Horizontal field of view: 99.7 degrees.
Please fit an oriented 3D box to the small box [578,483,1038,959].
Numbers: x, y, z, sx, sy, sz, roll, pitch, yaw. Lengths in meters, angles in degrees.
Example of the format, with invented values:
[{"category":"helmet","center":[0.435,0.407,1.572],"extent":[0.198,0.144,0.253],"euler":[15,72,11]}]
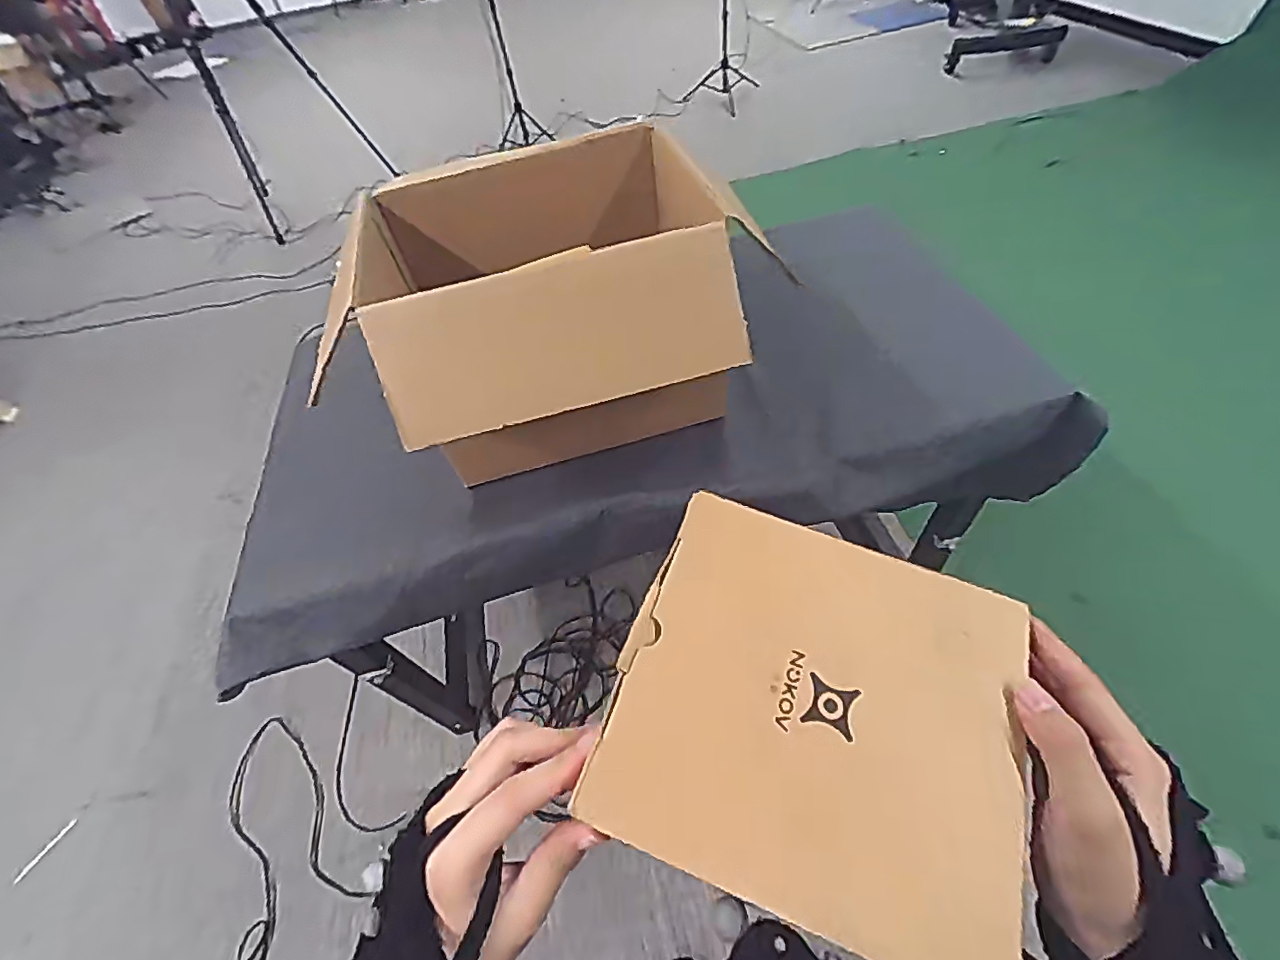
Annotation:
[{"category":"small box","center":[0.083,0.134,0.311],"extent":[0.179,0.176,0.168],"euler":[19,61,11]}]
